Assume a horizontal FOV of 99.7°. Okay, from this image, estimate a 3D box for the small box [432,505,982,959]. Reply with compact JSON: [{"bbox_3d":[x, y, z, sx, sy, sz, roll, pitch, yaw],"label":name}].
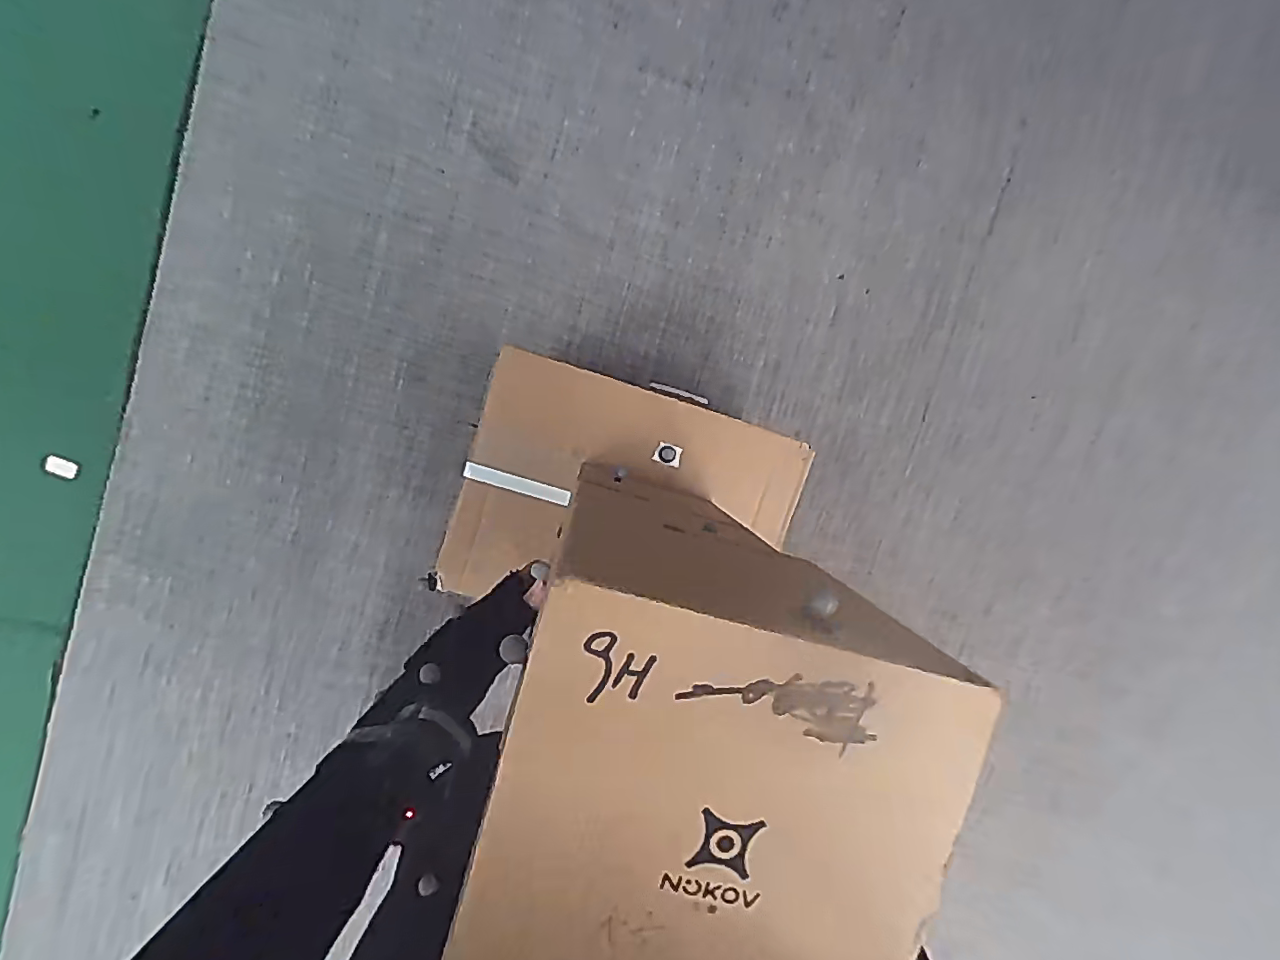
[{"bbox_3d":[0.017,0.126,0.272,0.168,0.176,0.179,15,96,-5],"label":"small box"}]
